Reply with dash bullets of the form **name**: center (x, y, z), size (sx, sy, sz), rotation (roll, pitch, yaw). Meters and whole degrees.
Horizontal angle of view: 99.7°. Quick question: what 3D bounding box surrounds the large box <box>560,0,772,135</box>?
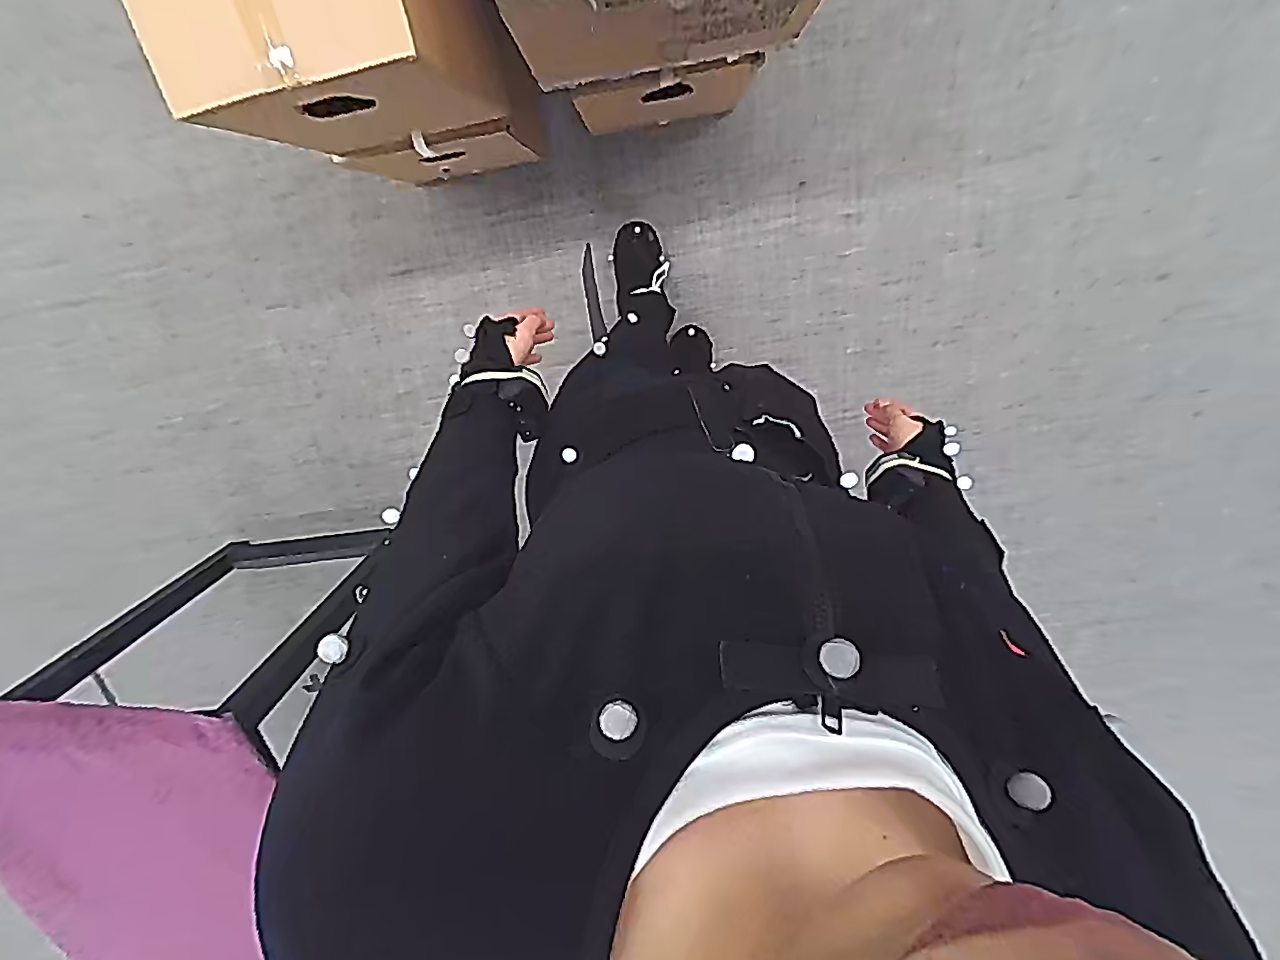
- **large box**: center (0.021, -0.868, 0.913), size (0.320, 0.320, 0.408), rotation (-8, 113, 6)
